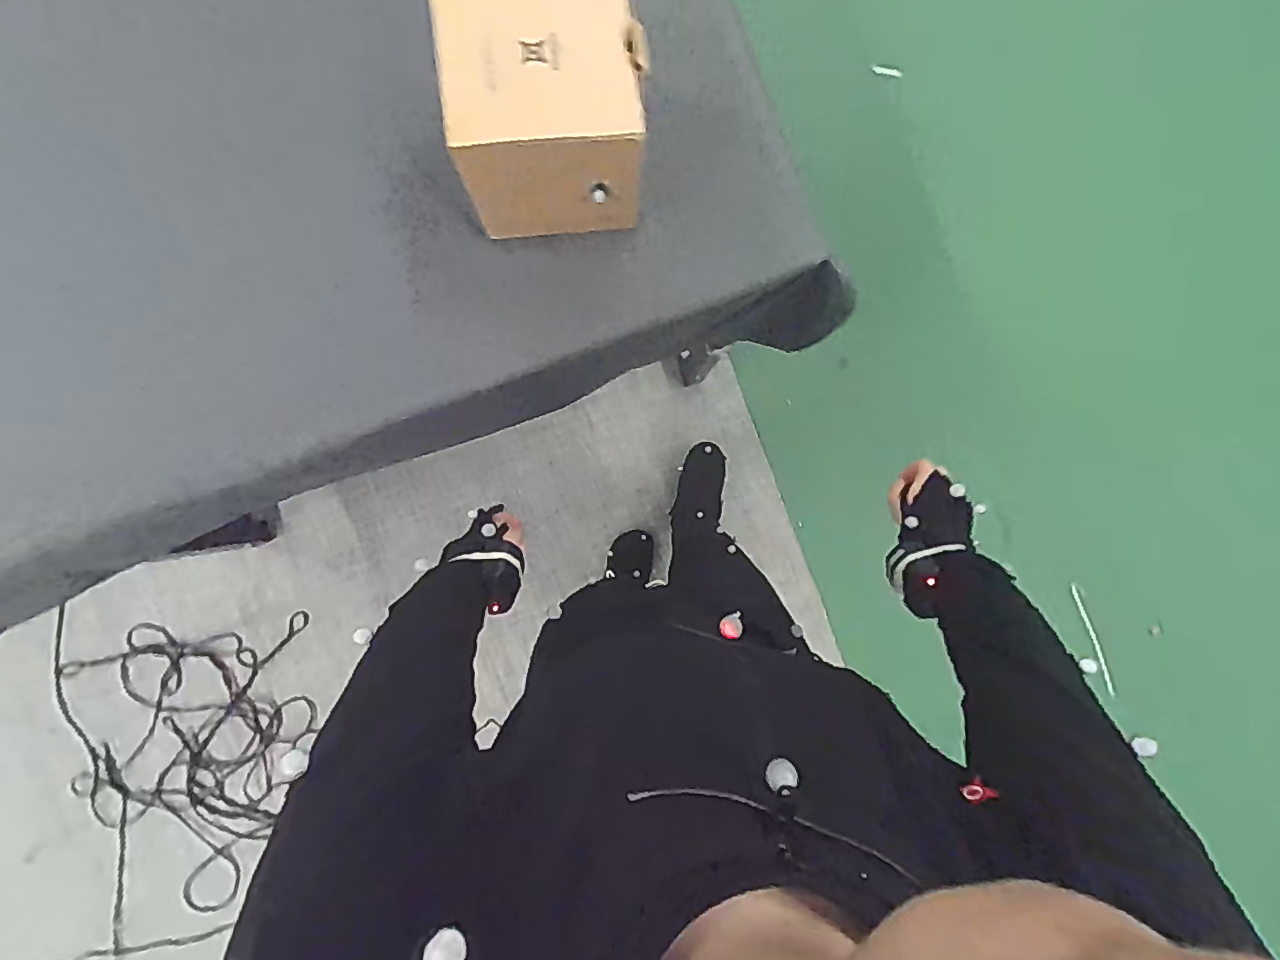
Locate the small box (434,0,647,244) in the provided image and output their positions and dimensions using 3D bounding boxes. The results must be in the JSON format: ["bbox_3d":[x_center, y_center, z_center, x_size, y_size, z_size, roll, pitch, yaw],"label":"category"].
[{"bbox_3d":[-0.094,-0.368,0.563,0.179,0.176,0.168,-8,87,-3],"label":"small box"}]
